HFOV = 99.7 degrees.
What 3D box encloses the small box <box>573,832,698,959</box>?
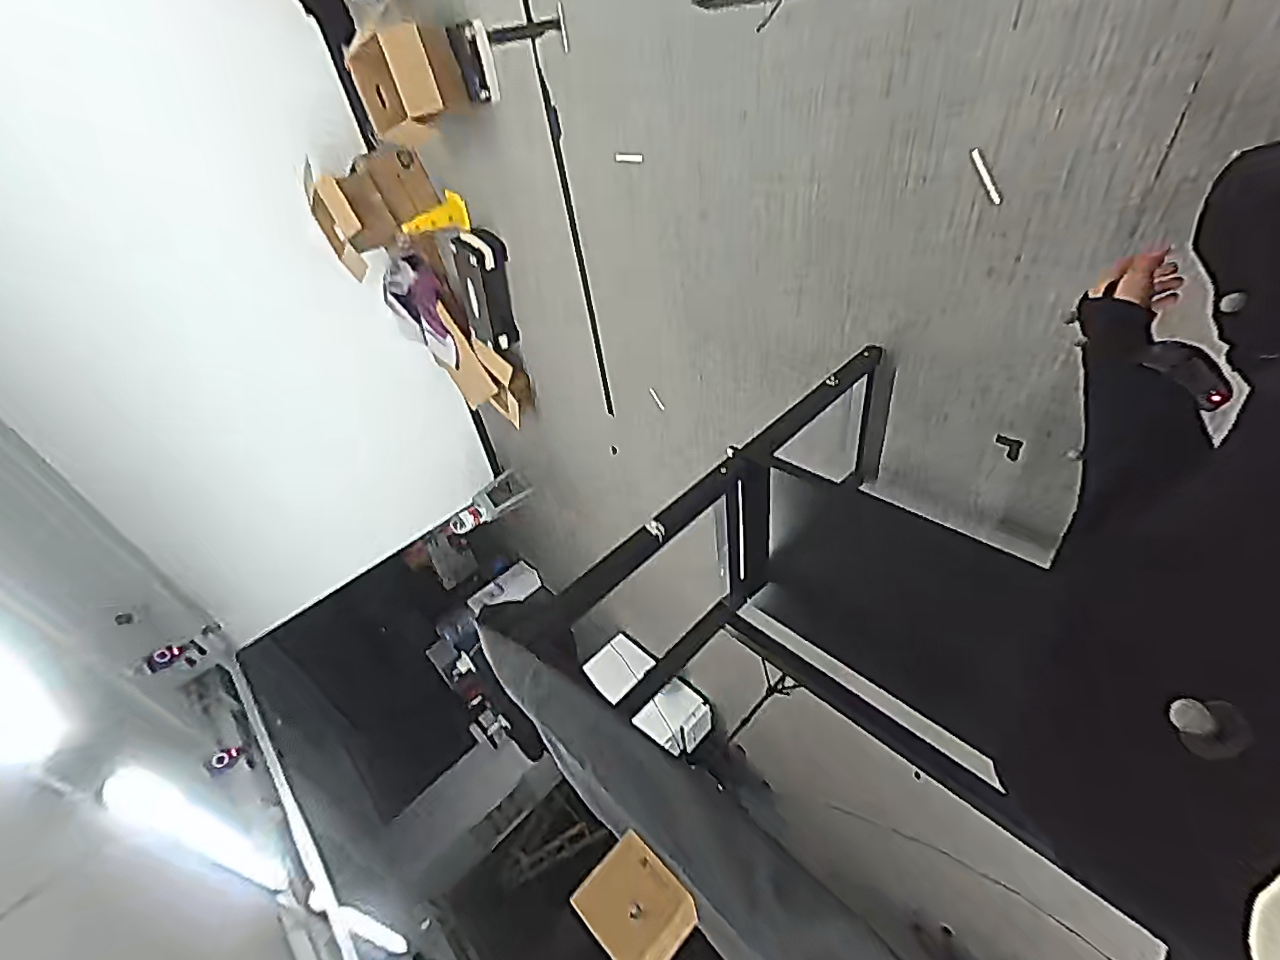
[{"bbox_3d":[-0.003,0.843,1.066,0.168,0.176,0.179,28,142,38],"label":"small box"}]
